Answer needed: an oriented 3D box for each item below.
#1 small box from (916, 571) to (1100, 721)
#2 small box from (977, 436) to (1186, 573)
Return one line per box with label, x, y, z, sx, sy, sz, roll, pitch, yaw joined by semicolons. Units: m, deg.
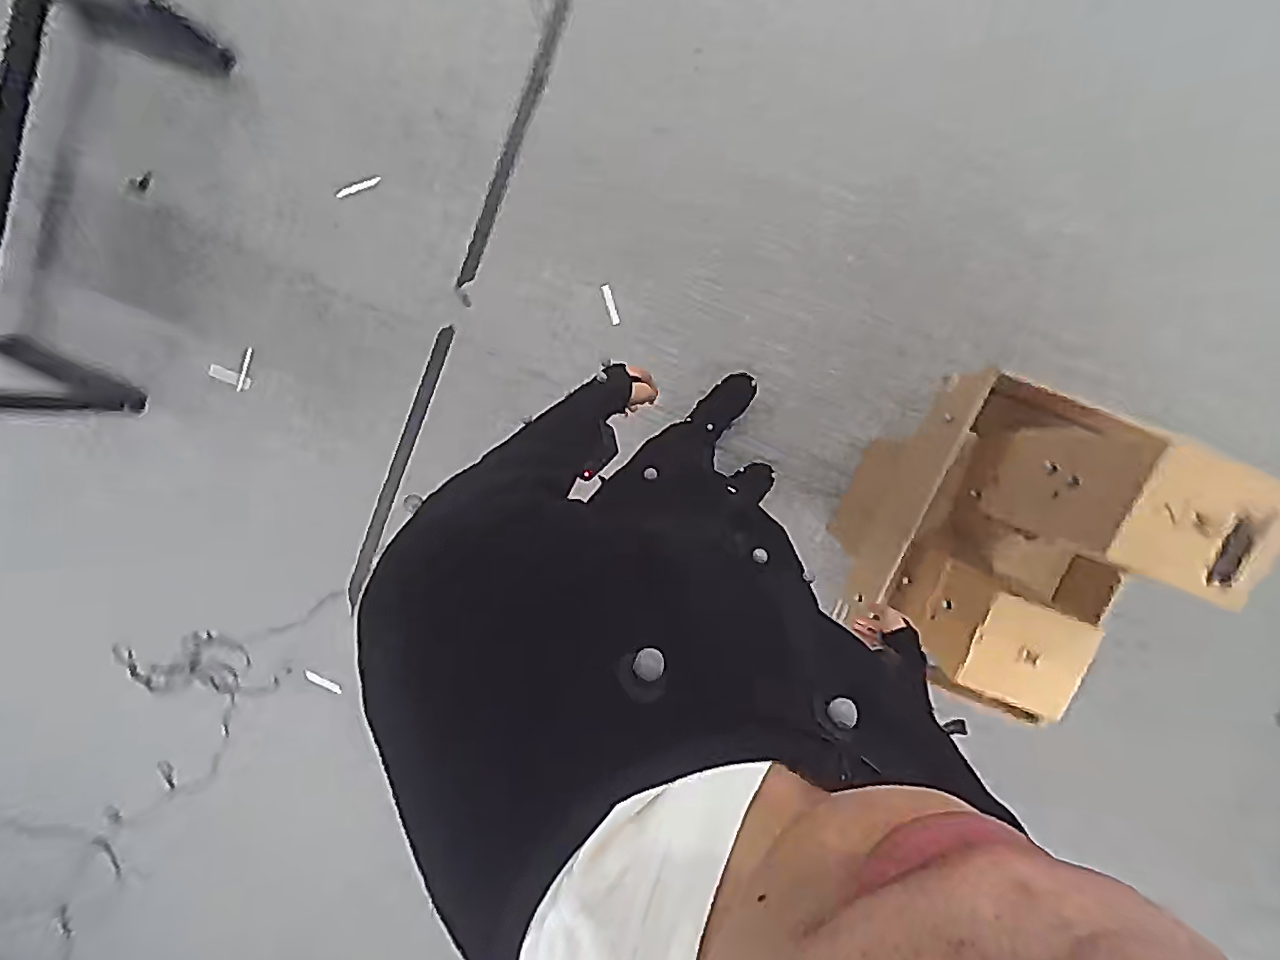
small box;0.624;0.276;0.943;0.179;0.176;0.168;21;98;4
small box;0.721;0.029;0.906;0.179;0.176;0.168;24;97;2
